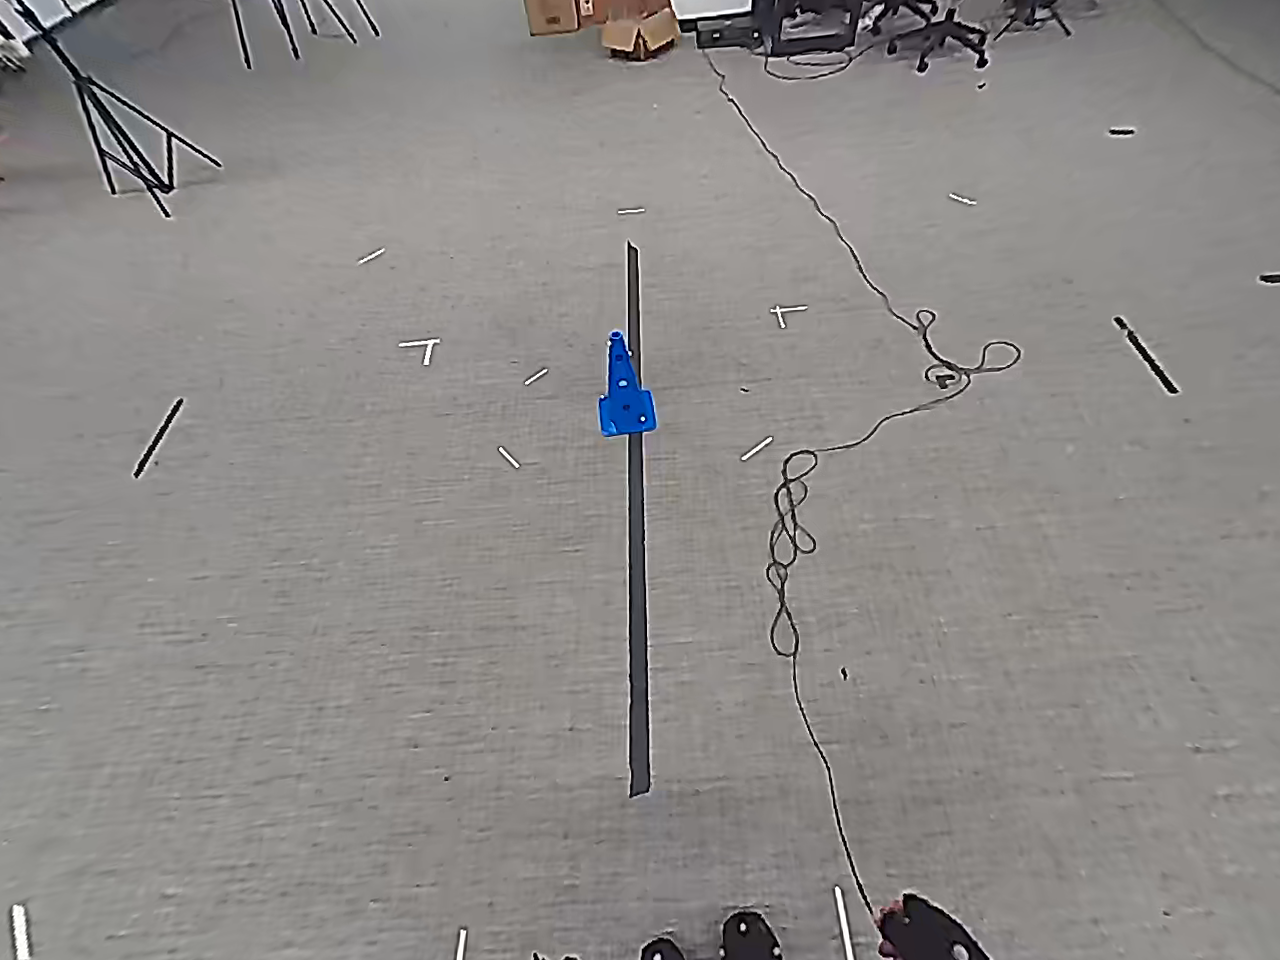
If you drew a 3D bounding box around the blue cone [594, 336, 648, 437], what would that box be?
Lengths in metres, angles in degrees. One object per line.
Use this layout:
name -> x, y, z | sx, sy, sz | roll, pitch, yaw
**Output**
blue cone -> -0.083, -0.333, 1.840 | 0.192, 0.380, 0.193 | -7, 54, 1
